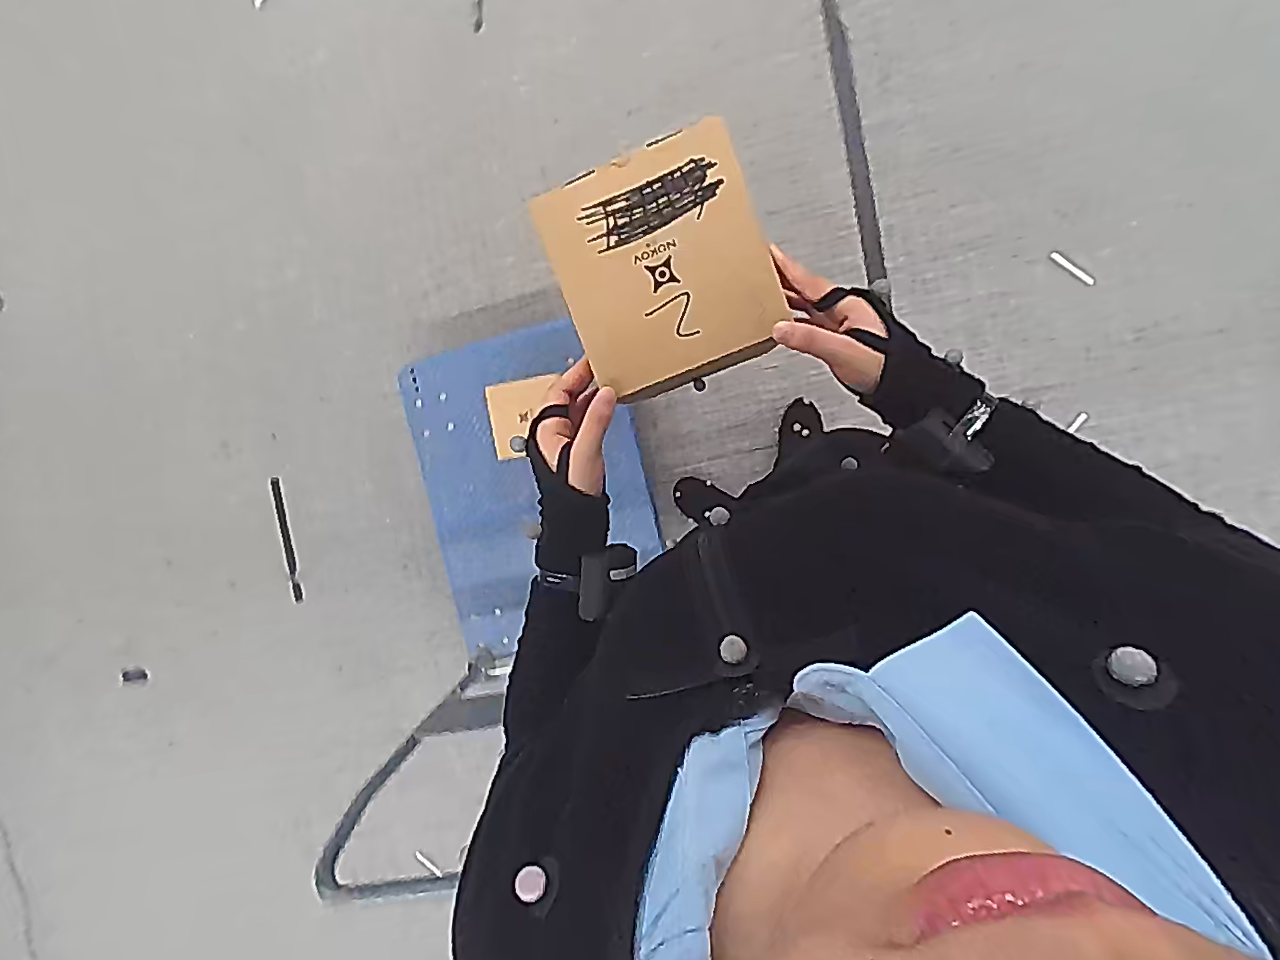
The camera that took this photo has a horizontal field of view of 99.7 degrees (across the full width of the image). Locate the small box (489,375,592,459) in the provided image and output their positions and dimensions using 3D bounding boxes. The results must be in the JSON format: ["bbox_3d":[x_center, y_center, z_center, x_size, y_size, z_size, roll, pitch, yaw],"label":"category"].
[{"bbox_3d":[-0.227,-0.143,1.268,0.179,0.176,0.168,-9,94,9],"label":"small box"}]
